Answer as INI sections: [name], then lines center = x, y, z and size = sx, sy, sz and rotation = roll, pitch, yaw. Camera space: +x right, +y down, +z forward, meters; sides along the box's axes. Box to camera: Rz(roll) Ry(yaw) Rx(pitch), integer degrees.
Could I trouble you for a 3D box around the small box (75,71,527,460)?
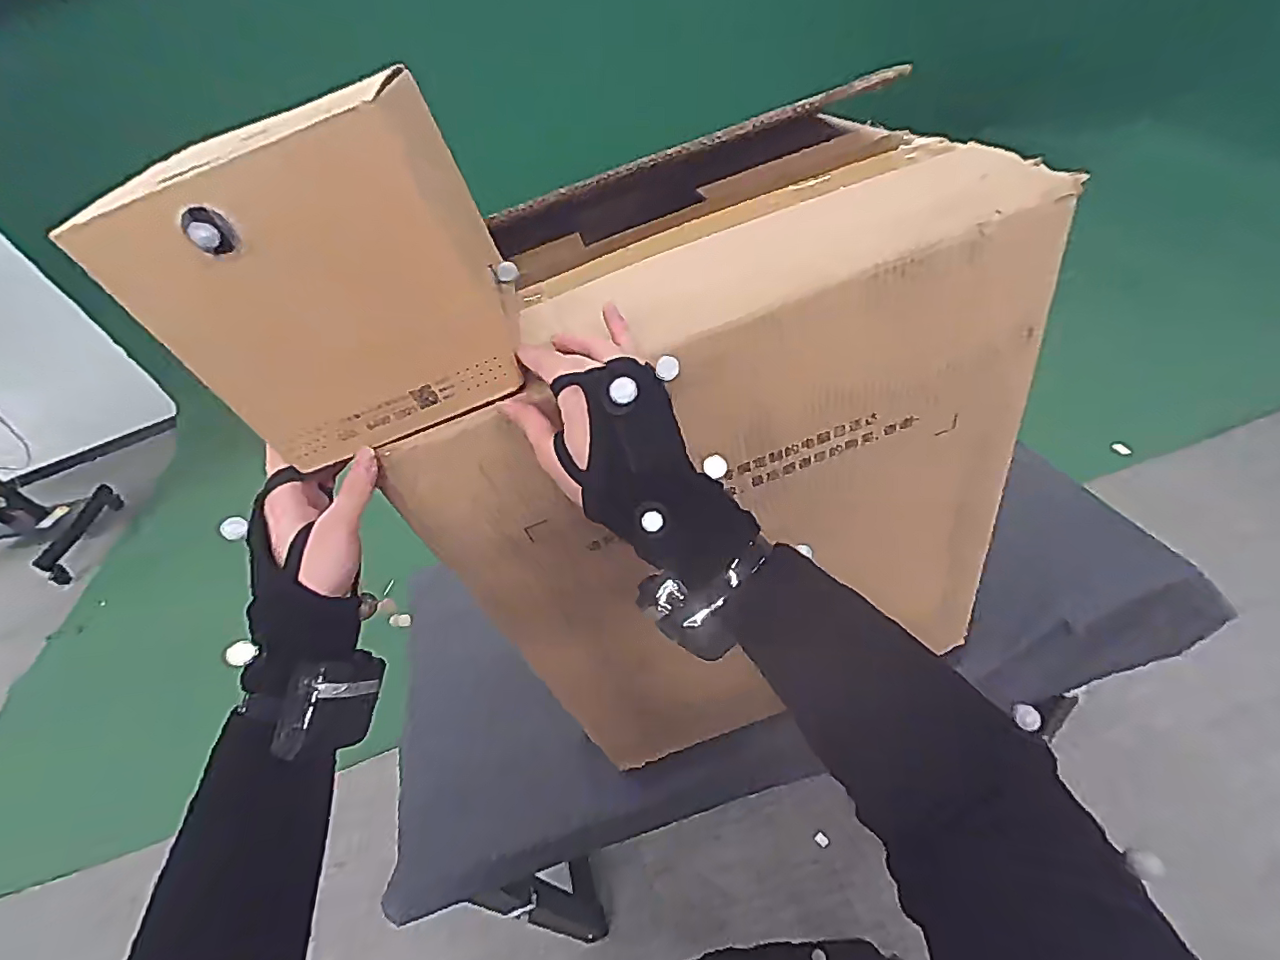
[small box]
center = -0.190, -0.145, 0.371
size = 0.168, 0.176, 0.179
rotation = -22, 43, 3
